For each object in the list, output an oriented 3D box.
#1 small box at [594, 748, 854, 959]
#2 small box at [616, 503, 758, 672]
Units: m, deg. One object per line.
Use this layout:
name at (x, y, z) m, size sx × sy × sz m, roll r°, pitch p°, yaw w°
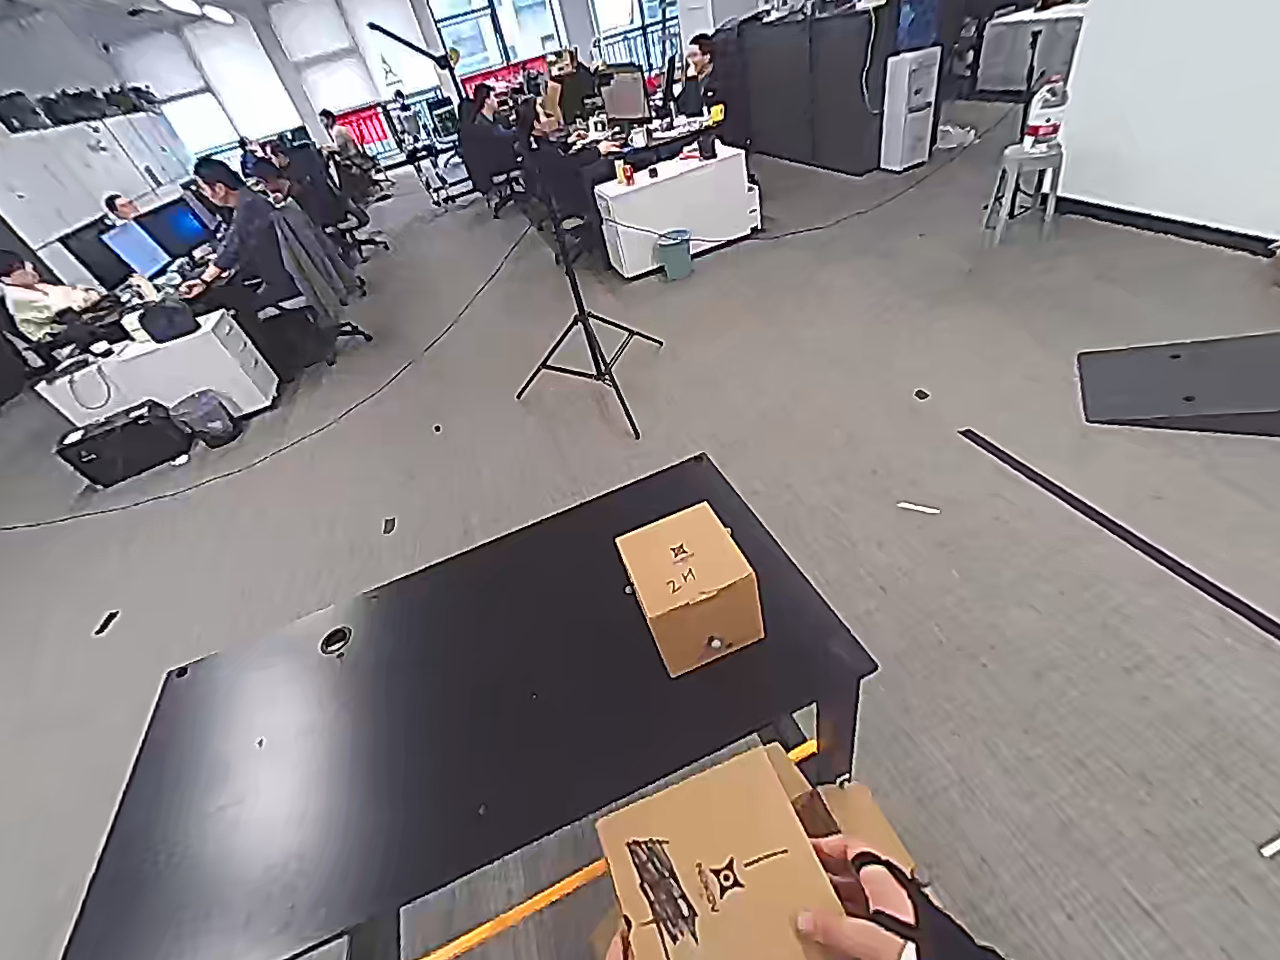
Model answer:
small box at (0.075, 0.395, 0.516) m, size 0.179 × 0.176 × 0.168 m, roll -20°, pitch 46°, yaw -7°
small box at (0.077, 0.173, 0.874) m, size 0.168 × 0.176 × 0.179 m, roll -22°, pitch 41°, yaw -5°
